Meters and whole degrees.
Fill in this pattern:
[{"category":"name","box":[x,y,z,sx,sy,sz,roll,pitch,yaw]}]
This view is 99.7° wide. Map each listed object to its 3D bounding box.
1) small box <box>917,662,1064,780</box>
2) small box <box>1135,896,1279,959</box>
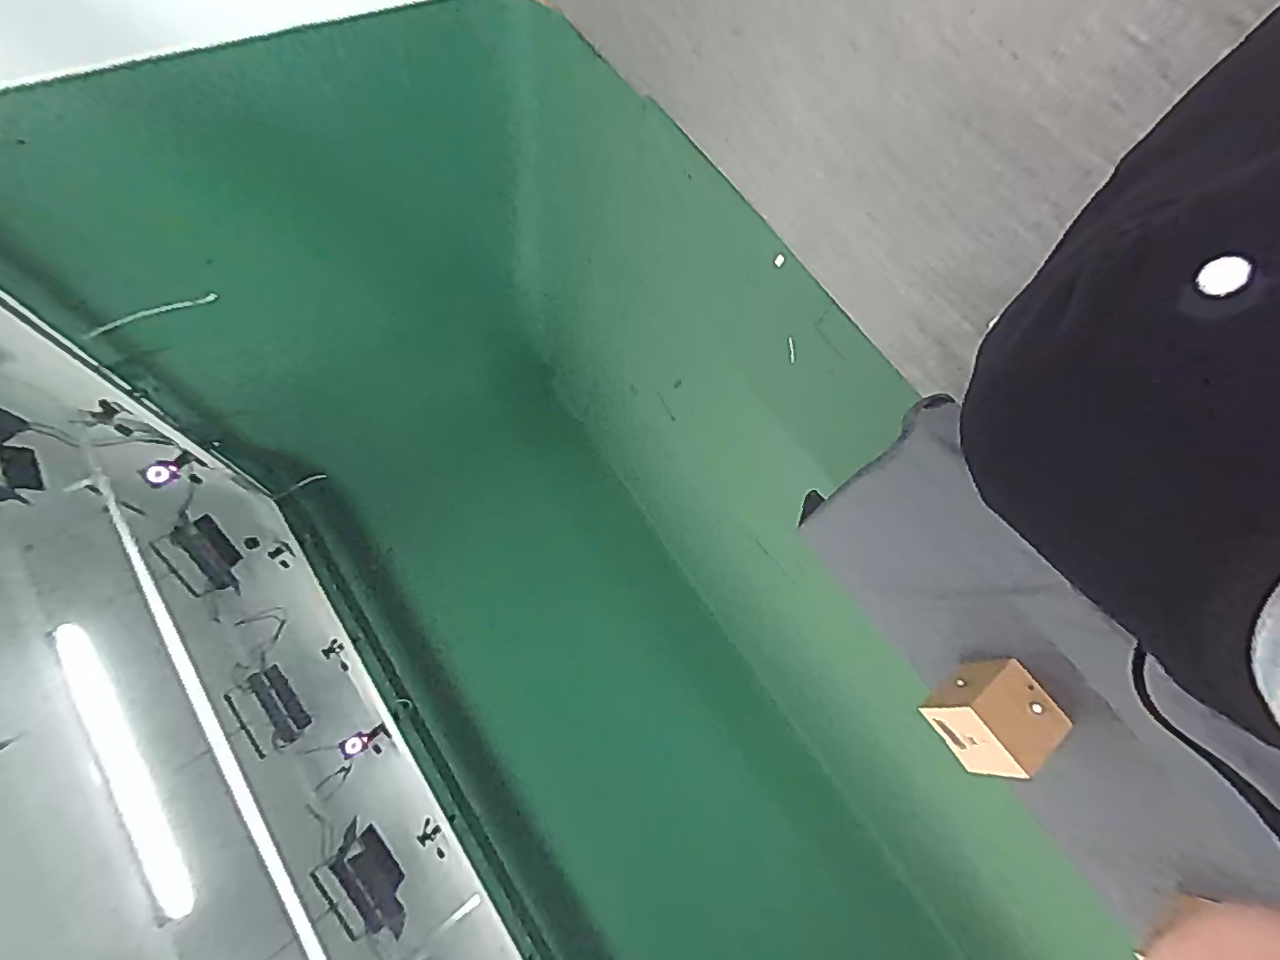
[{"category":"small box","box":[0.767,0.522,1.187,0.168,0.176,0.179,52,157,14]},{"category":"small box","box":[1.099,0.921,0.999,0.168,0.176,0.179,52,158,16]}]
